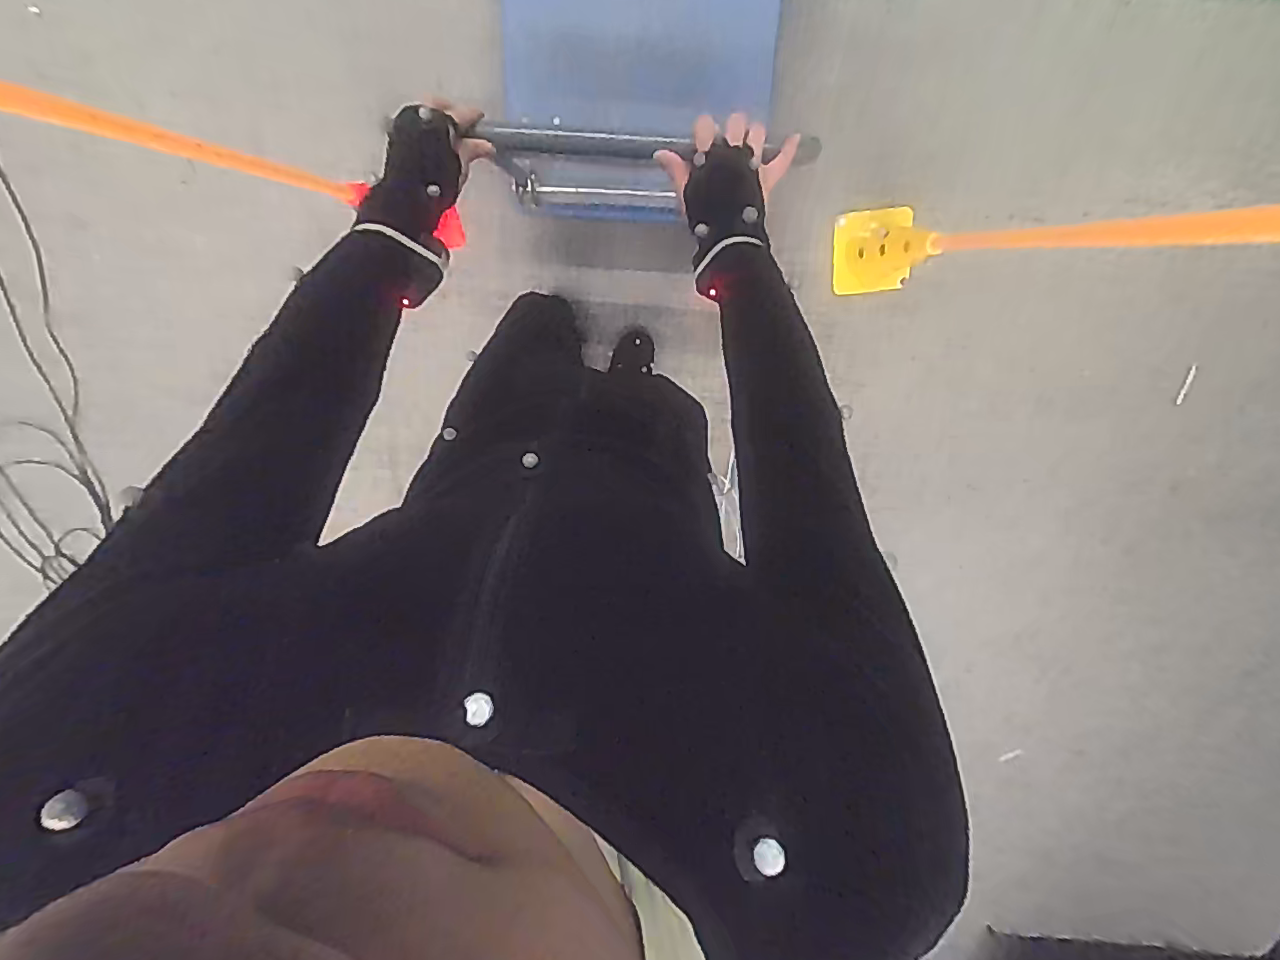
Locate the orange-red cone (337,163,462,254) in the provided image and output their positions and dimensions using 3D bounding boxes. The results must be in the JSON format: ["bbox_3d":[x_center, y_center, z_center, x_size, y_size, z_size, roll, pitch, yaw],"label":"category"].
[{"bbox_3d":[-0.580,-0.639,1.240,0.199,0.360,0.198,-8,110,6],"label":"orange-red cone"}]
